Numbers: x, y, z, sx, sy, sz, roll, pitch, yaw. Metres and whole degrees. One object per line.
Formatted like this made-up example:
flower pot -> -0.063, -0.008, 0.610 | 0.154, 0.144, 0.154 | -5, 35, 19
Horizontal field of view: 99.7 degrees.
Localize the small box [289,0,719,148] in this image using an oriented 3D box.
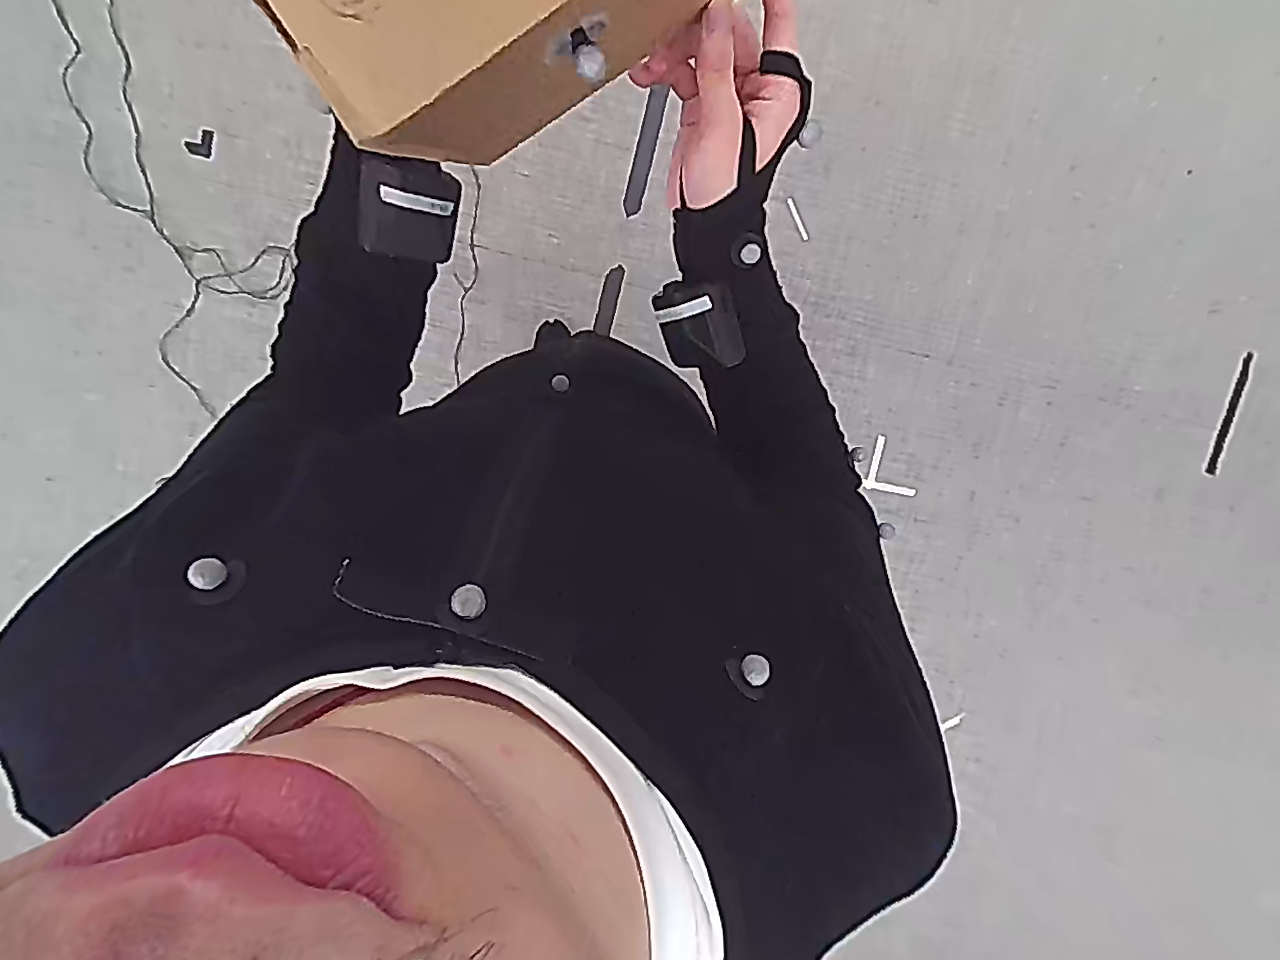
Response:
small box -> -0.055, -0.257, 0.211 | 0.179, 0.176, 0.168 | -26, 116, 13
